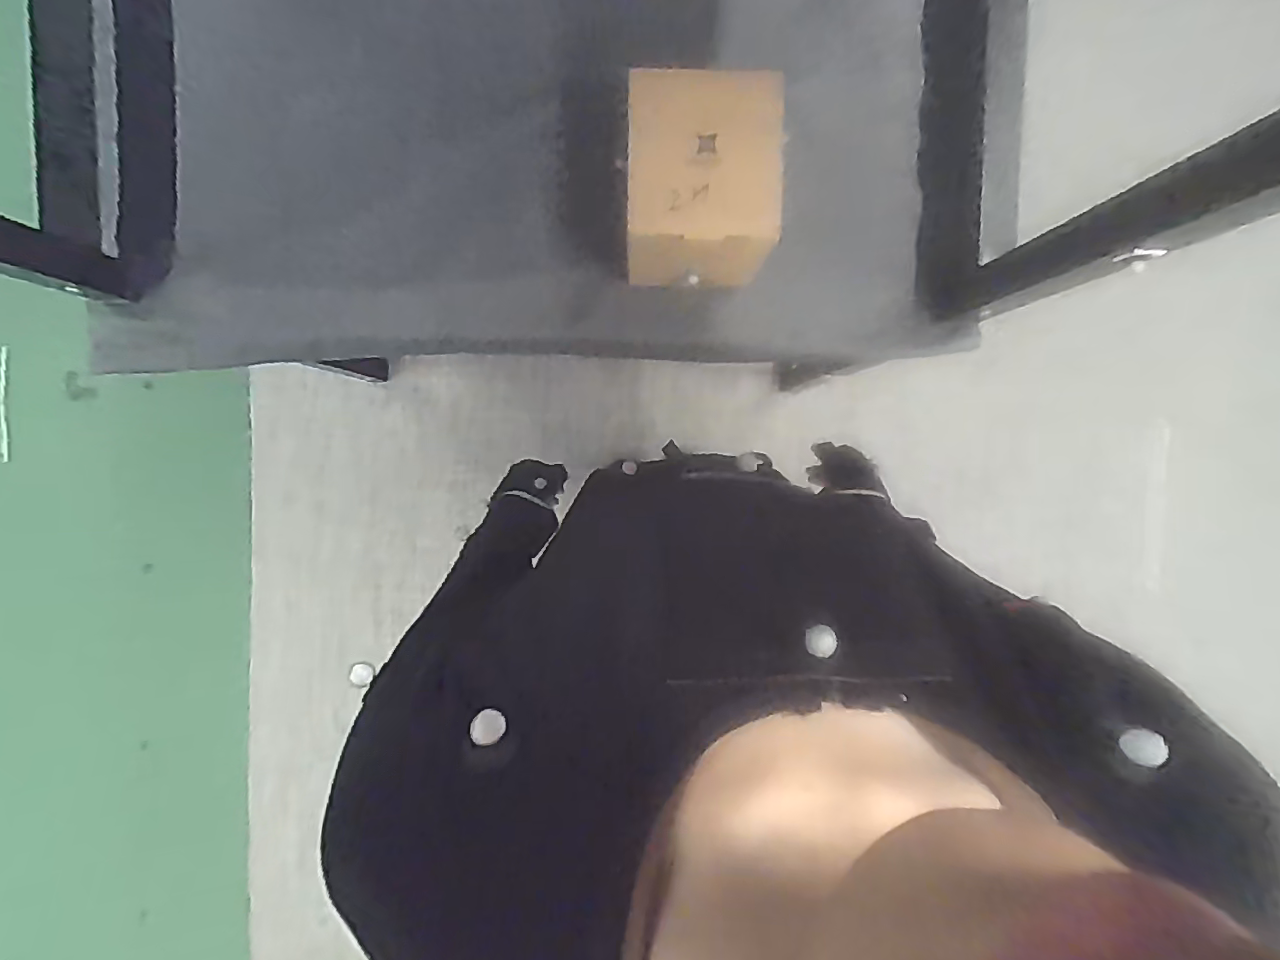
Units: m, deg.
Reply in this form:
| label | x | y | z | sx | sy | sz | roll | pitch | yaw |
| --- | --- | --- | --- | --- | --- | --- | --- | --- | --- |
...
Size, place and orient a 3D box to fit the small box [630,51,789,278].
| label | x | y | z | sx | sy | sz | roll | pitch | yaw |
| --- | --- | --- | --- | --- | --- | --- | --- | --- | --- |
| small box | 0.072 | -0.360 | 0.644 | 0.168 | 0.176 | 0.179 | 1 | 92 | 0 |
